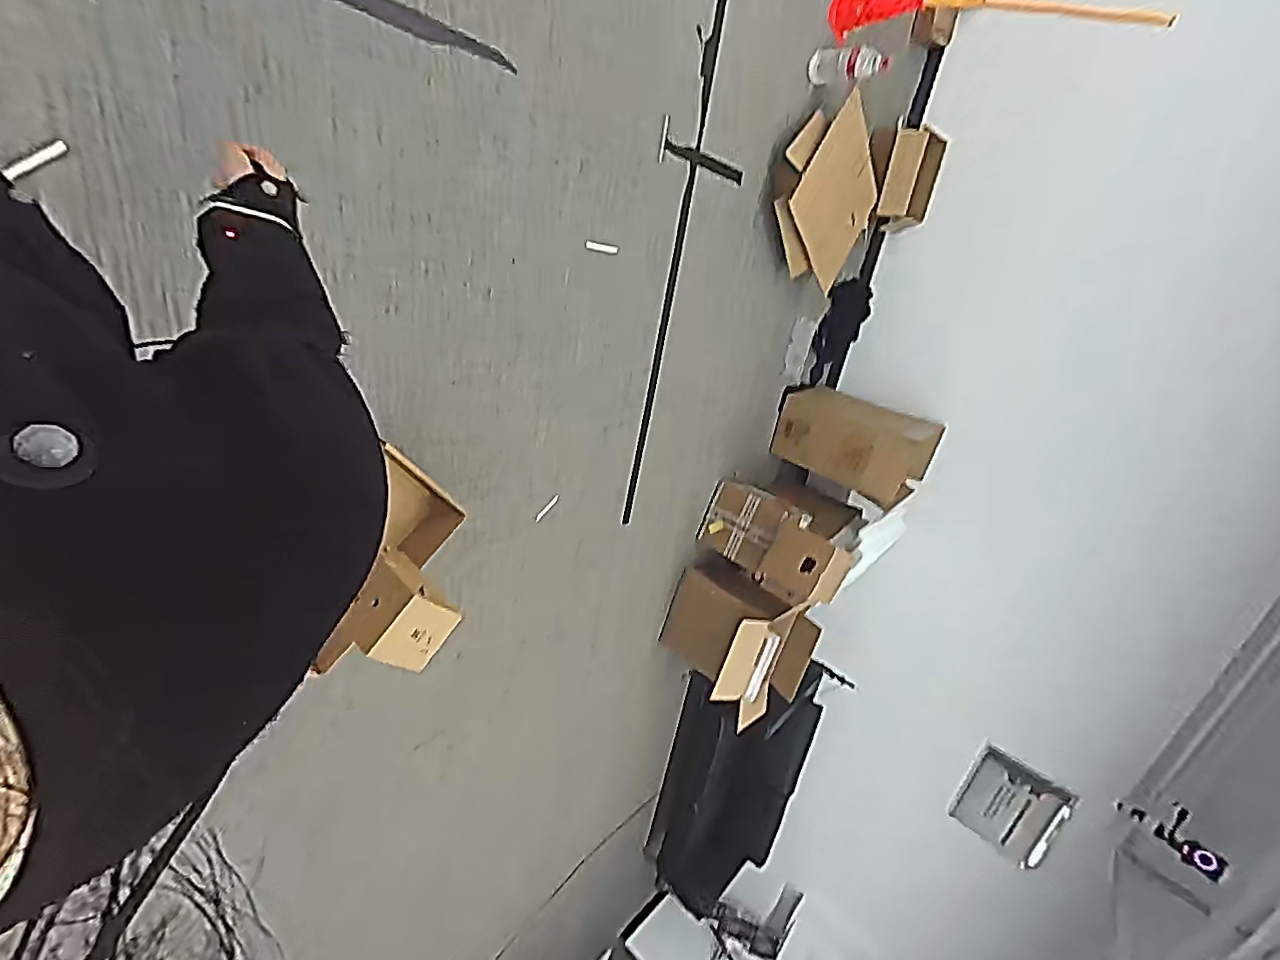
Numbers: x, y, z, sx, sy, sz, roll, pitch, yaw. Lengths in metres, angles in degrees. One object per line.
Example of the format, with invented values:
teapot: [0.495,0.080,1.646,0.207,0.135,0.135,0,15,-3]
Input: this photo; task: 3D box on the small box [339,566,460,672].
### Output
small box: [-0.586,0.332,1.313,0.168,0.176,0.179,-53,144,-11]

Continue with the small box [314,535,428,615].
small box: [-0.702,0.264,1.409,0.168,0.176,0.179,-53,145,-11]
